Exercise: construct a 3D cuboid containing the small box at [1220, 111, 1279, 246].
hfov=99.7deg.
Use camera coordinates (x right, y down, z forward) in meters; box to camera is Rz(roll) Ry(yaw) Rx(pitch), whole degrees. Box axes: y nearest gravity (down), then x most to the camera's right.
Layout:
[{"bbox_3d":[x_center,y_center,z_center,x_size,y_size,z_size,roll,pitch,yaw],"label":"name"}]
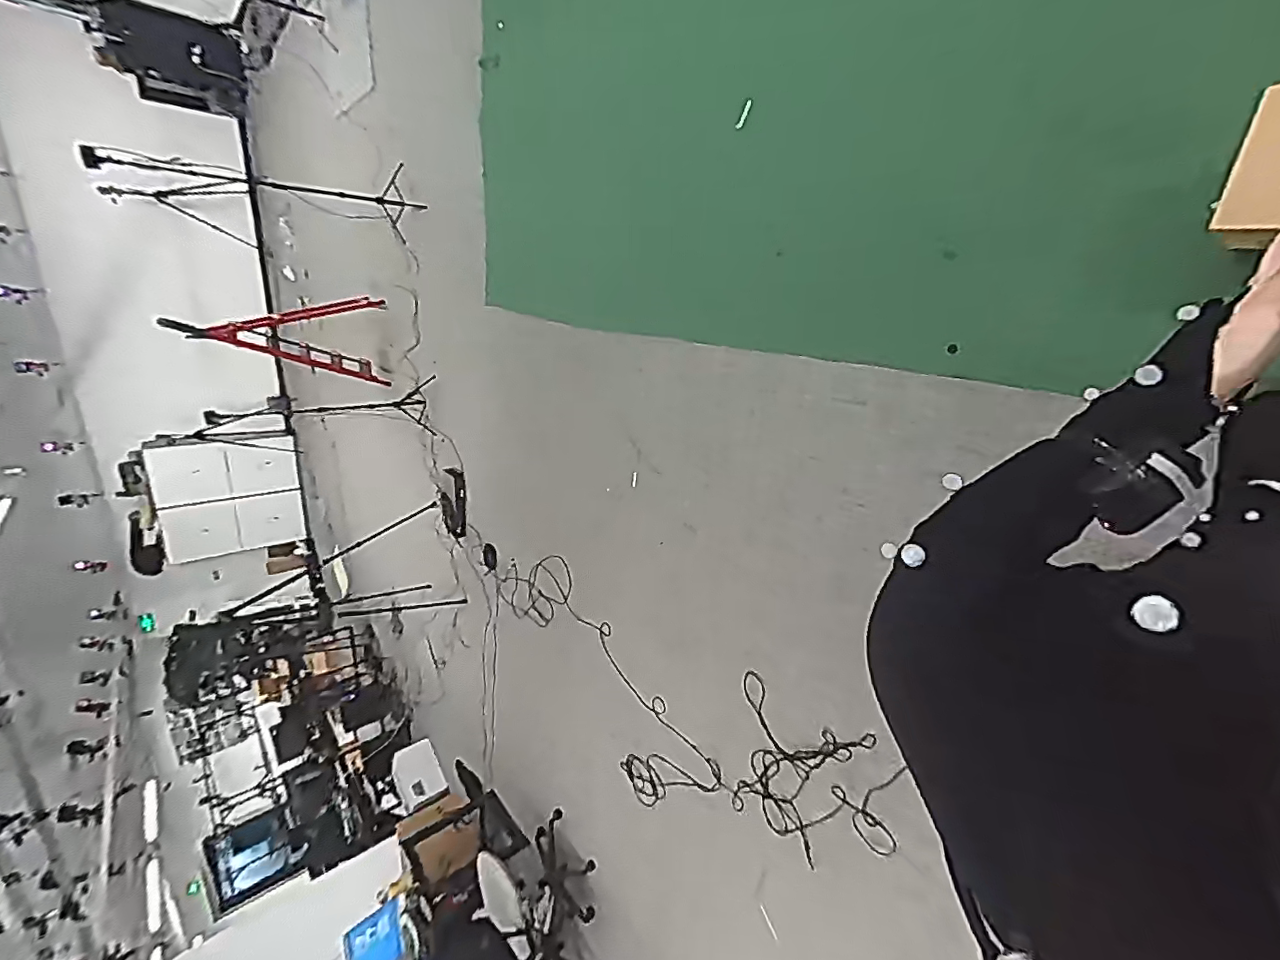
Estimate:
[{"bbox_3d":[1.052,-0.459,0.833,0.168,0.176,0.179,25,118,45],"label":"small box"}]
